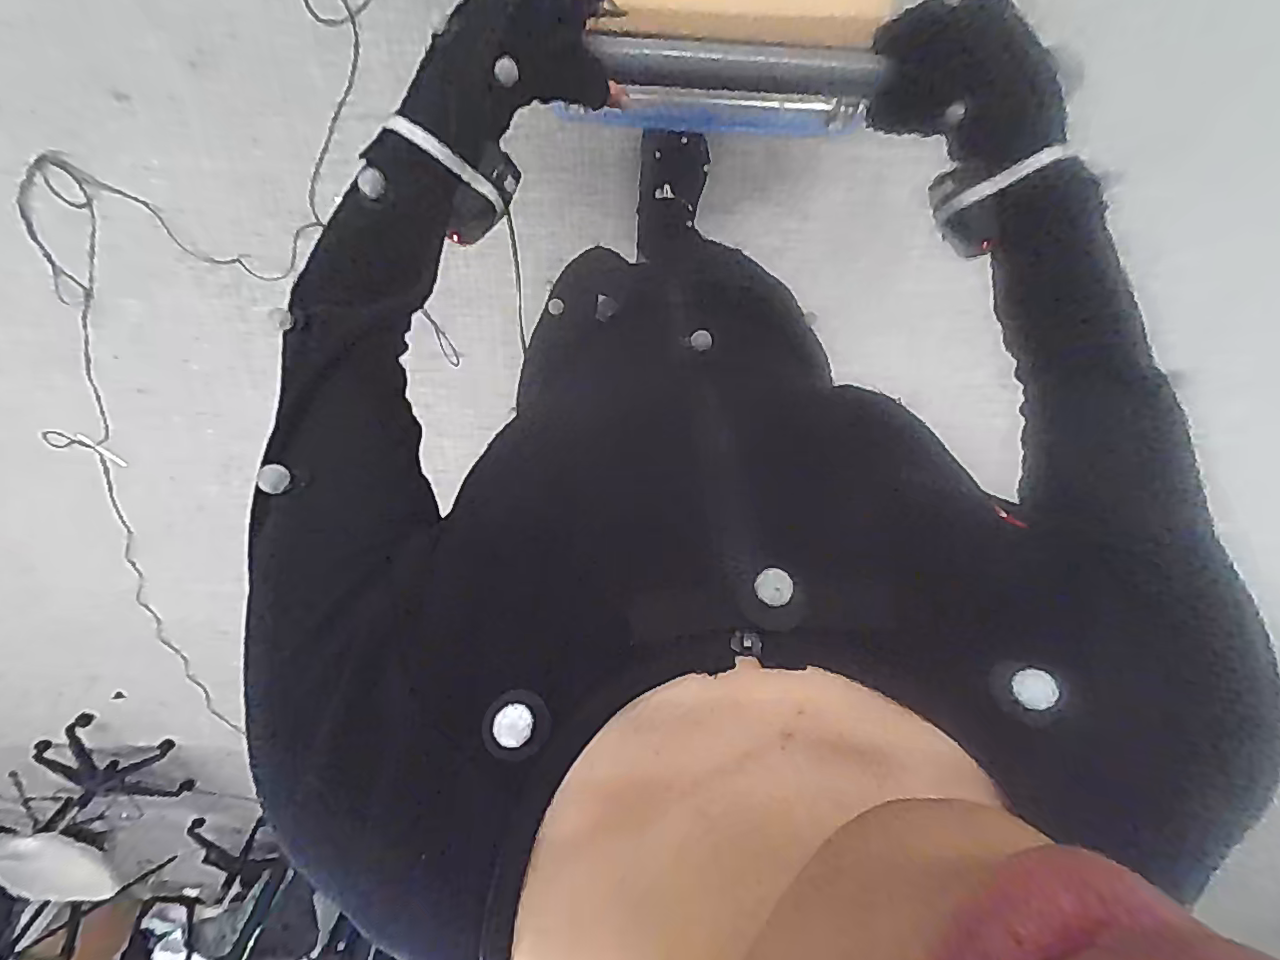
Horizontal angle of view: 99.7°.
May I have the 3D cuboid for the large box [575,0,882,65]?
[{"bbox_3d":[0.116,-0.797,0.755,0.408,0.320,0.320,2,124,-2],"label":"large box"}]
